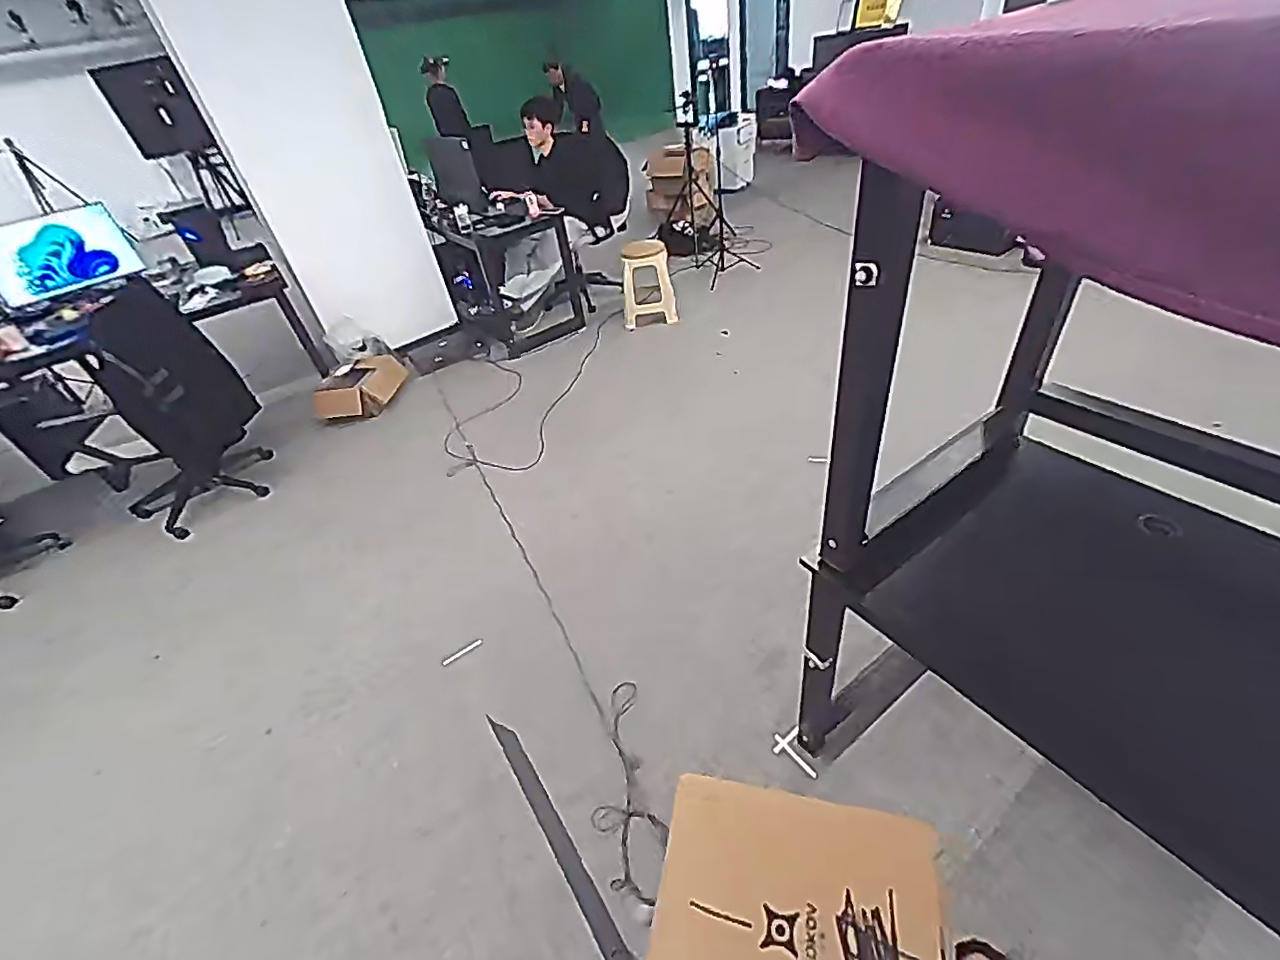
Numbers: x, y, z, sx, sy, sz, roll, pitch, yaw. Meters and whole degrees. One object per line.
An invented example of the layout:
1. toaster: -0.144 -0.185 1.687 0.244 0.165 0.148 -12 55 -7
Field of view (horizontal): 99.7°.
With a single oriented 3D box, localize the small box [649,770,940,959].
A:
1. small box: 0.097 0.346 0.391 0.179 0.176 0.168 9 42 10
